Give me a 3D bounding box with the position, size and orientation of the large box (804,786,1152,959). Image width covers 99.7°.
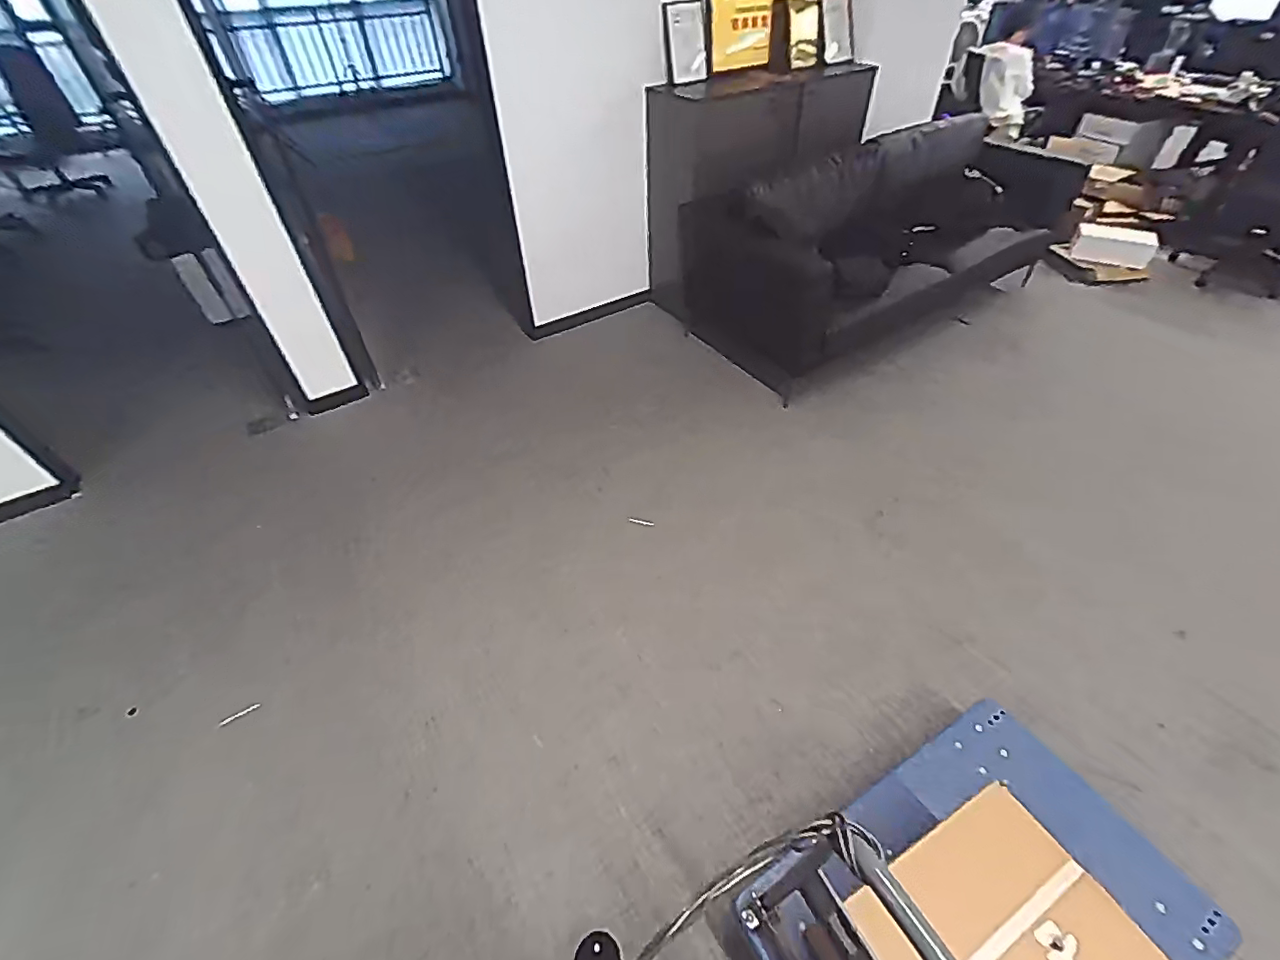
[{"bbox_3d":[0.571,0.855,0.974,0.408,0.320,0.320,-21,48,-20],"label":"large box"}]
